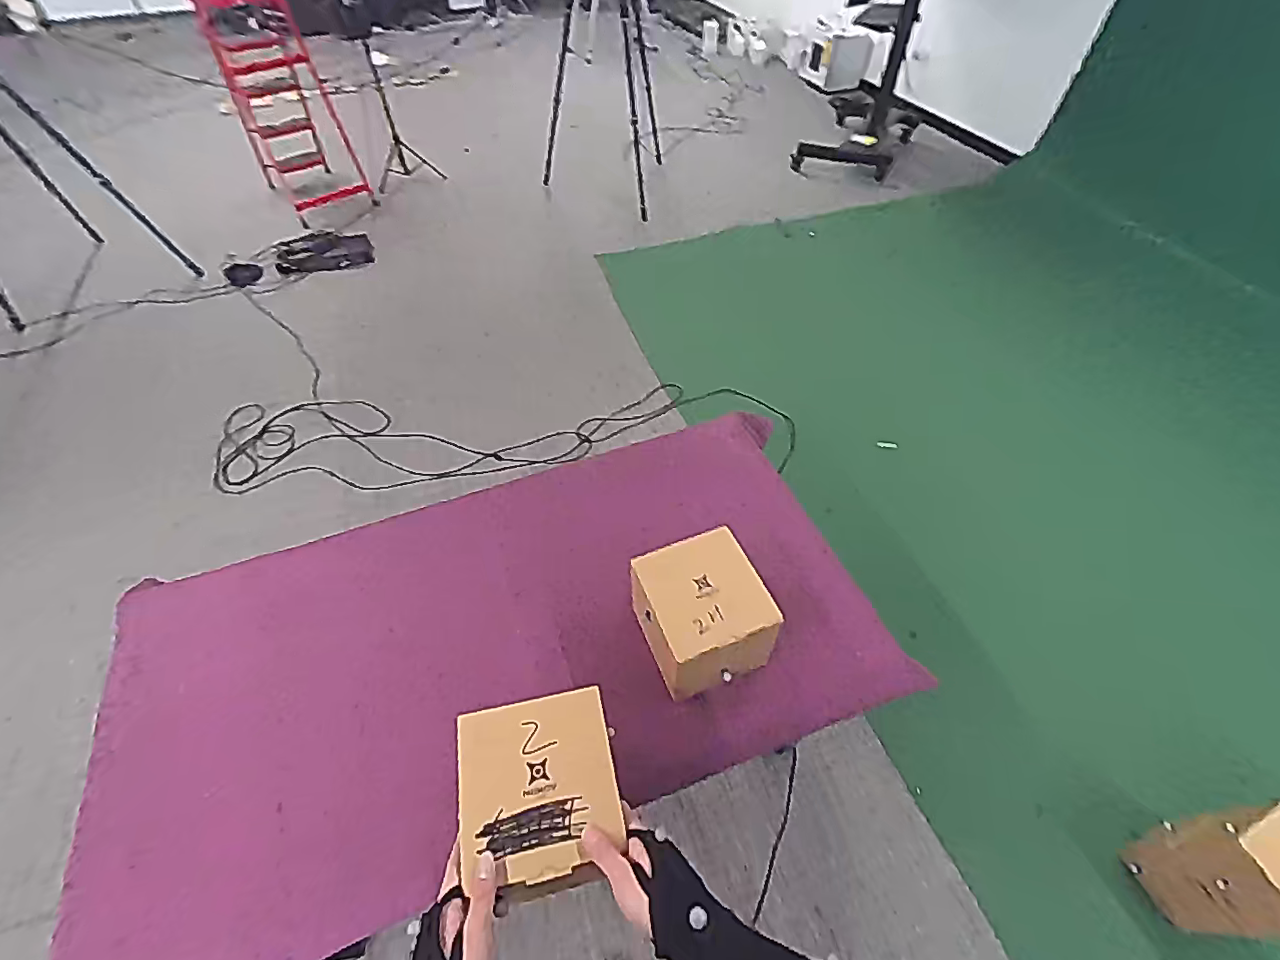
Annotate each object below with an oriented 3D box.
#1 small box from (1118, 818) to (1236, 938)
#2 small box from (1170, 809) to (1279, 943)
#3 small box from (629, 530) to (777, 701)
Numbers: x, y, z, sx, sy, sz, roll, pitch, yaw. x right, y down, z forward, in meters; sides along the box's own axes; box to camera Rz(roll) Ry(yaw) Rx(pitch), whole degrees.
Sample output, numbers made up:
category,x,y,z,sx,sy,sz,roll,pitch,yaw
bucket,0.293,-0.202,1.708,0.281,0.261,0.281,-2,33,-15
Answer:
category,x,y,z,sx,sy,sz,roll,pitch,yaw
small box,1.254,0.906,1.231,0.179,0.176,0.168,-18,54,-15
small box,1.263,0.805,1.104,0.179,0.176,0.168,-19,55,-14
small box,0.087,0.213,0.847,0.168,0.176,0.179,-18,53,-13
